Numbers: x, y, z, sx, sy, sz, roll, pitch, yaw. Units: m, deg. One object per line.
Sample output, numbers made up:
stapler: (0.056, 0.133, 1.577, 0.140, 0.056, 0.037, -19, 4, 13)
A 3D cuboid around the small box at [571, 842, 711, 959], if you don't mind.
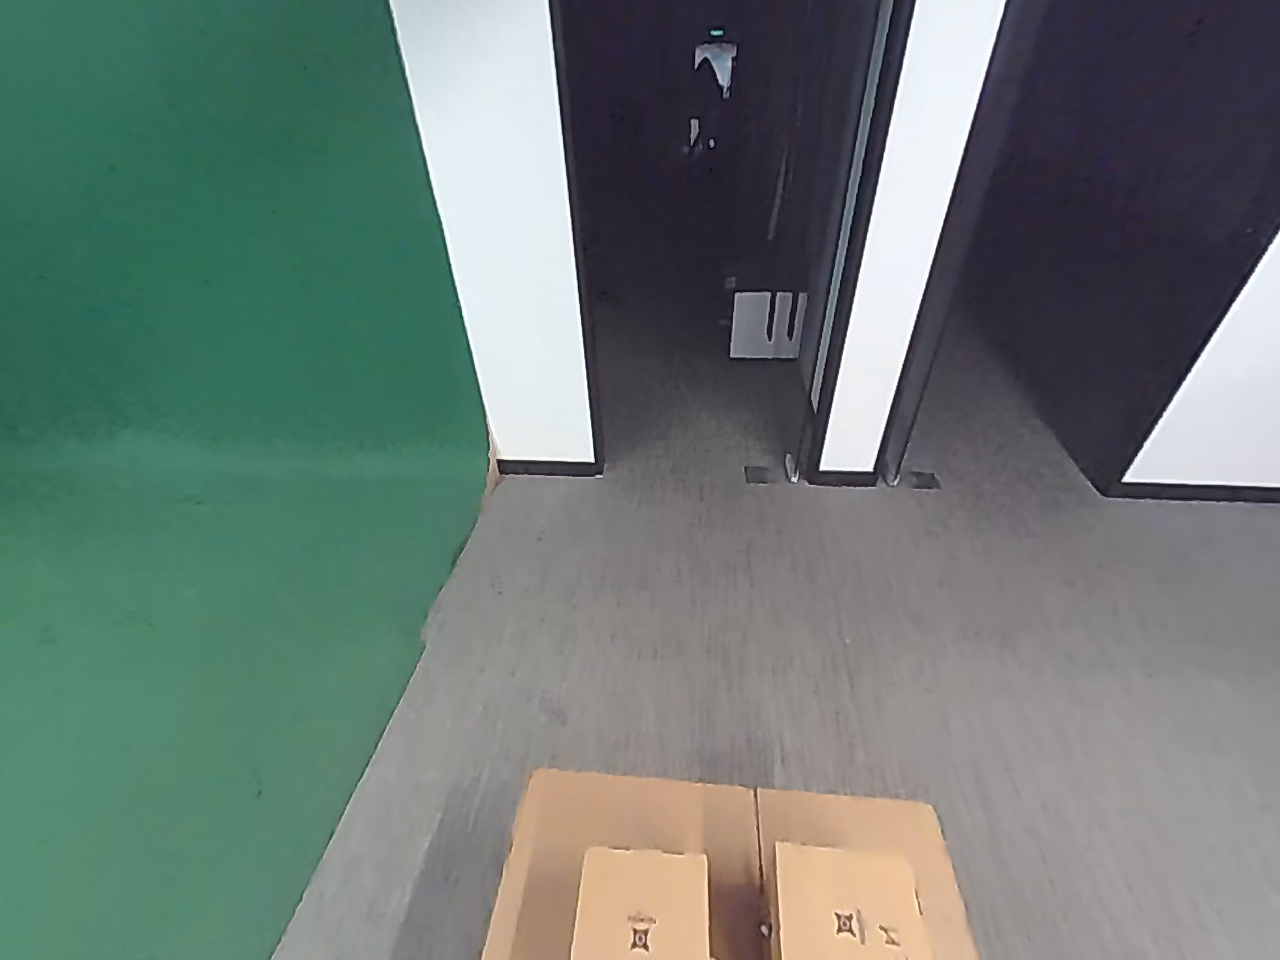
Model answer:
small box: (0.007, 0.609, 0.703, 0.168, 0.176, 0.179, 0, 36, 6)
